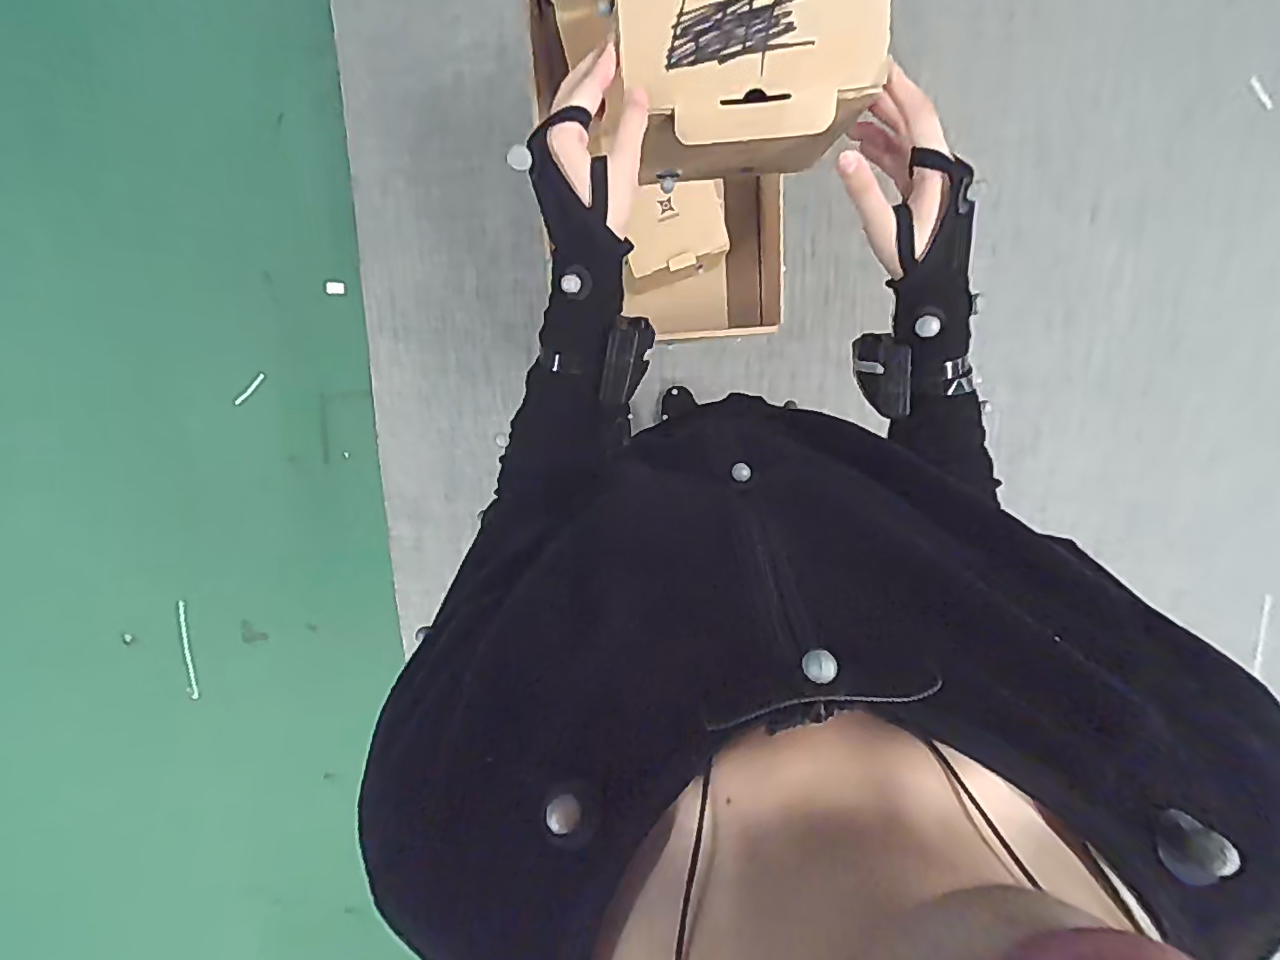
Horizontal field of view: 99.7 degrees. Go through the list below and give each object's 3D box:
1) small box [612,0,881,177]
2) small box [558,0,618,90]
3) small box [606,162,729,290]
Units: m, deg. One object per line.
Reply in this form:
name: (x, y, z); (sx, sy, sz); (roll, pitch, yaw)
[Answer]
small box: (0.065, -0.342, 0.401); (0.168, 0.176, 0.179); (-4, 104, 2)
small box: (-0.021, -0.674, 0.738); (0.179, 0.176, 0.168); (-7, 100, 4)
small box: (0.048, -0.443, 0.942); (0.168, 0.176, 0.179); (-16, 98, 3)
